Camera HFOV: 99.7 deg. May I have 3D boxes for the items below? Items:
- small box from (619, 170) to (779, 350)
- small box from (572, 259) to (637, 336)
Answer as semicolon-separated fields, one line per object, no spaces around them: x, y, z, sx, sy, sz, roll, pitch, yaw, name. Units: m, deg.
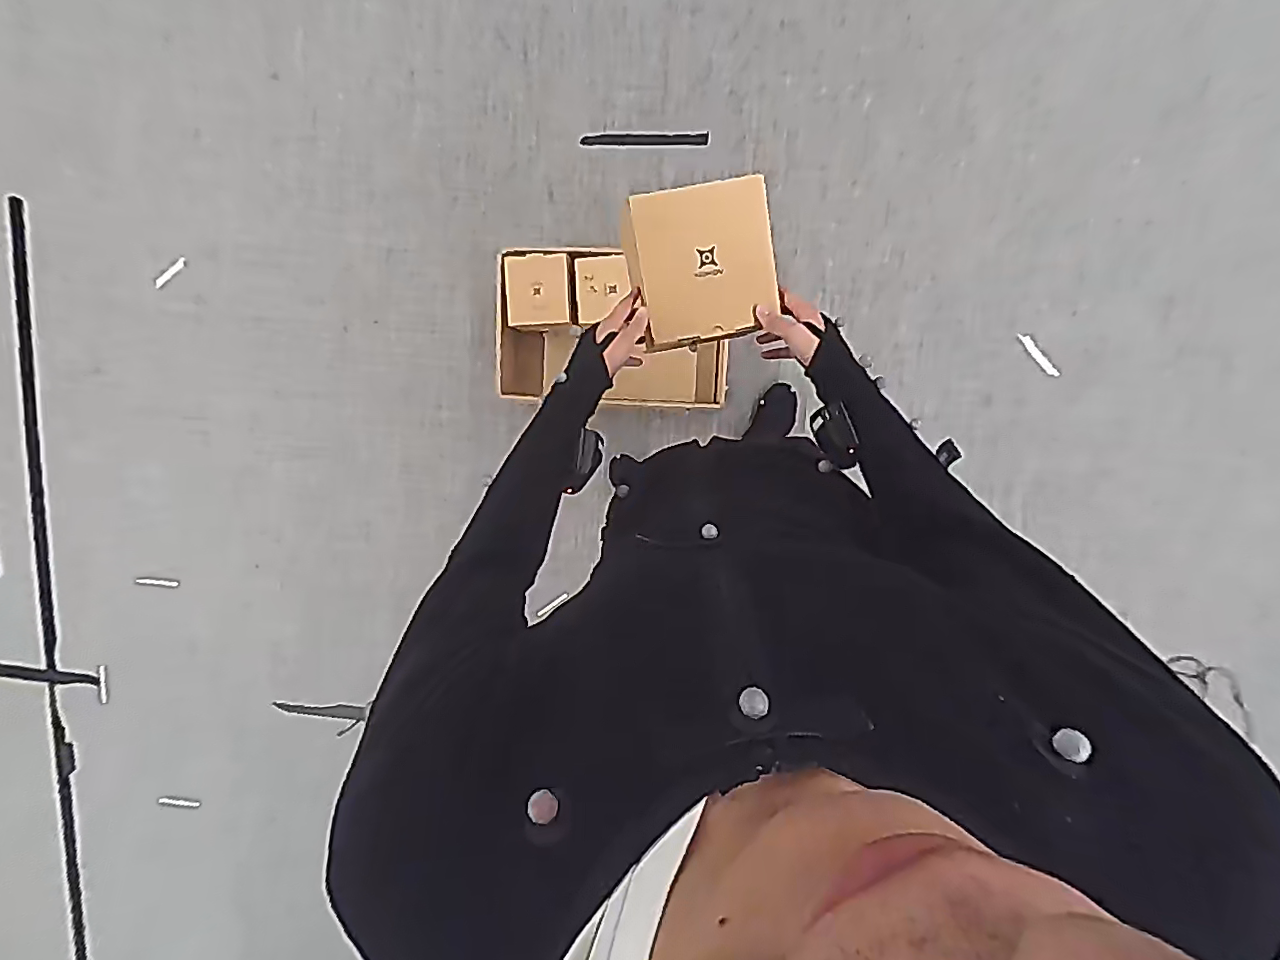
0.069;-0.276;0.718;0.168;0.176;0.179;-12;102;-1;small box
-0.078;-0.486;1.454;0.179;0.176;0.168;-2;97;4;small box
